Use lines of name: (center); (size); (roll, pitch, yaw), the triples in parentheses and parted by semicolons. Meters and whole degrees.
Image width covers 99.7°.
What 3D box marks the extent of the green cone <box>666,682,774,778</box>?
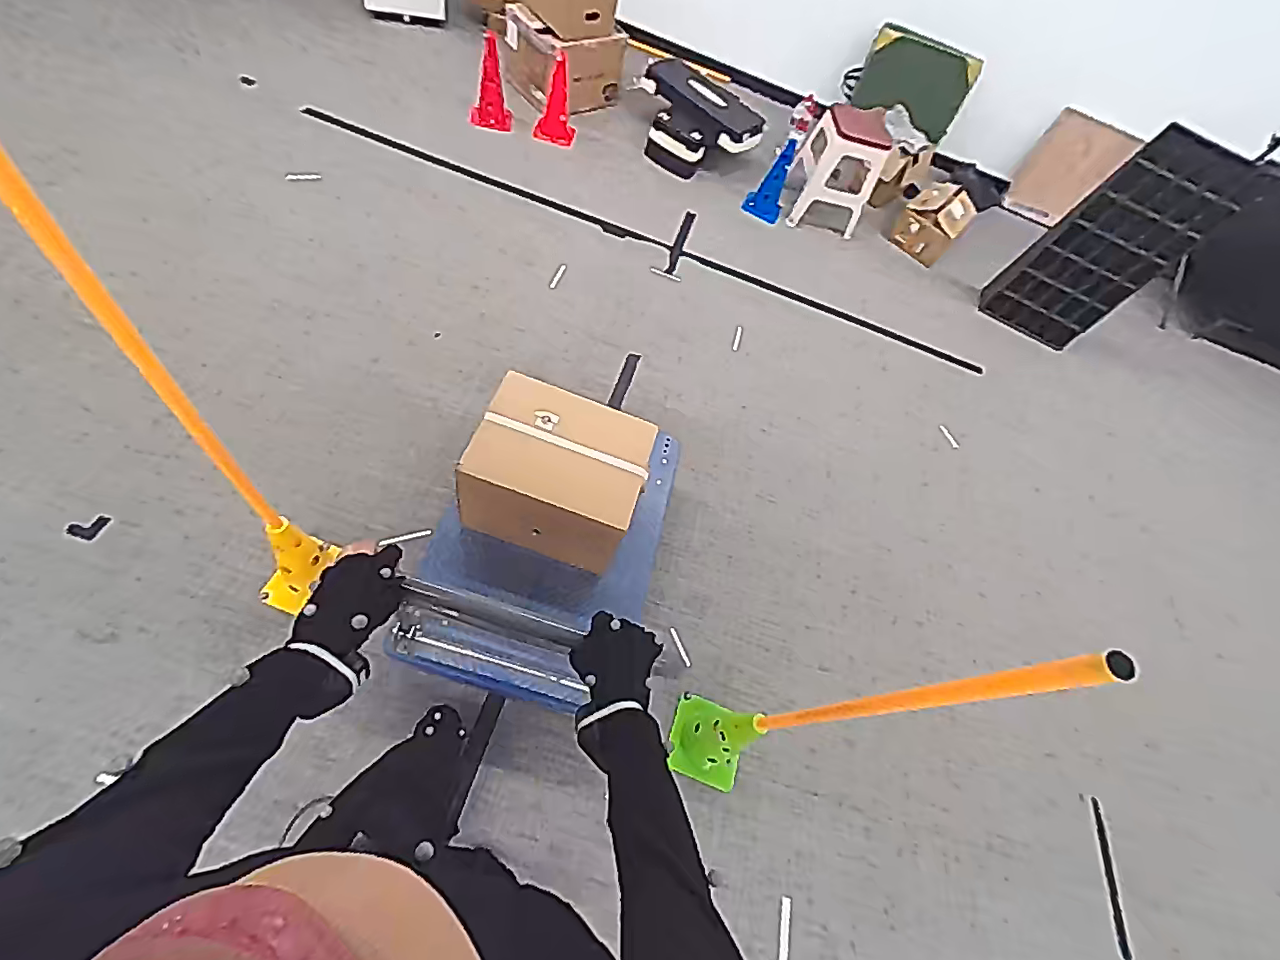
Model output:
green cone: (0.227, 0.602, 1.342); (0.202, 0.368, 0.200); (24, 57, -3)

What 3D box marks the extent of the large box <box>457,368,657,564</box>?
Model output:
large box: (-0.211, -0.022, 1.410); (0.408, 0.320, 0.320); (21, 59, -3)
